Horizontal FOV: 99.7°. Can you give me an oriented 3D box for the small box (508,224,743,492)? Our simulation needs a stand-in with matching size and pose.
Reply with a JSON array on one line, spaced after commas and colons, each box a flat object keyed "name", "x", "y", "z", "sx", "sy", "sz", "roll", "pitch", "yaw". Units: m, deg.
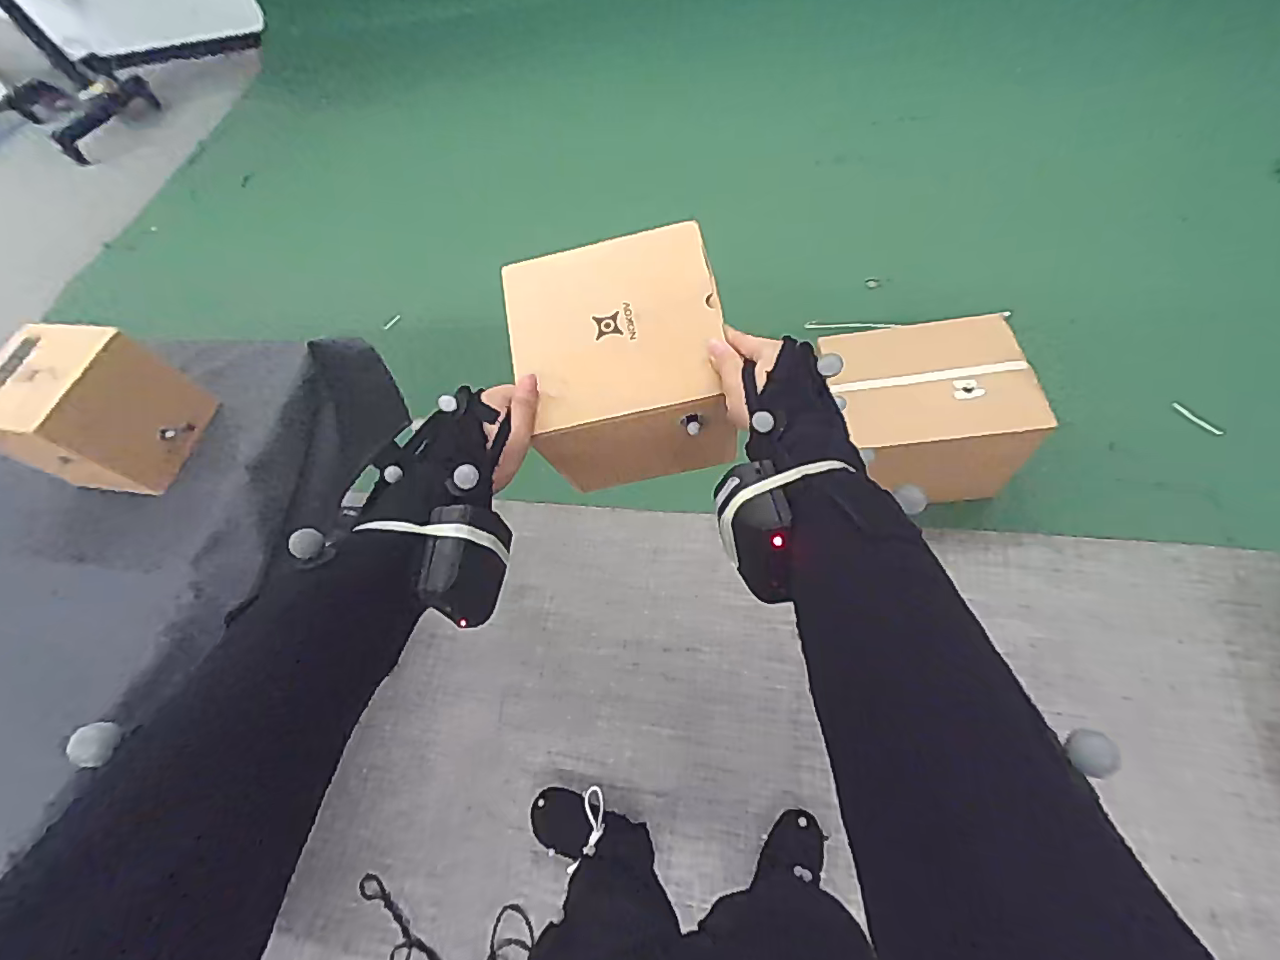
[{"name": "small box", "x": -0.007, "y": -0.099, "z": 0.510, "sx": 0.179, "sy": 0.176, "sz": 0.168, "roll": -11, "pitch": 71, "yaw": 4}]
